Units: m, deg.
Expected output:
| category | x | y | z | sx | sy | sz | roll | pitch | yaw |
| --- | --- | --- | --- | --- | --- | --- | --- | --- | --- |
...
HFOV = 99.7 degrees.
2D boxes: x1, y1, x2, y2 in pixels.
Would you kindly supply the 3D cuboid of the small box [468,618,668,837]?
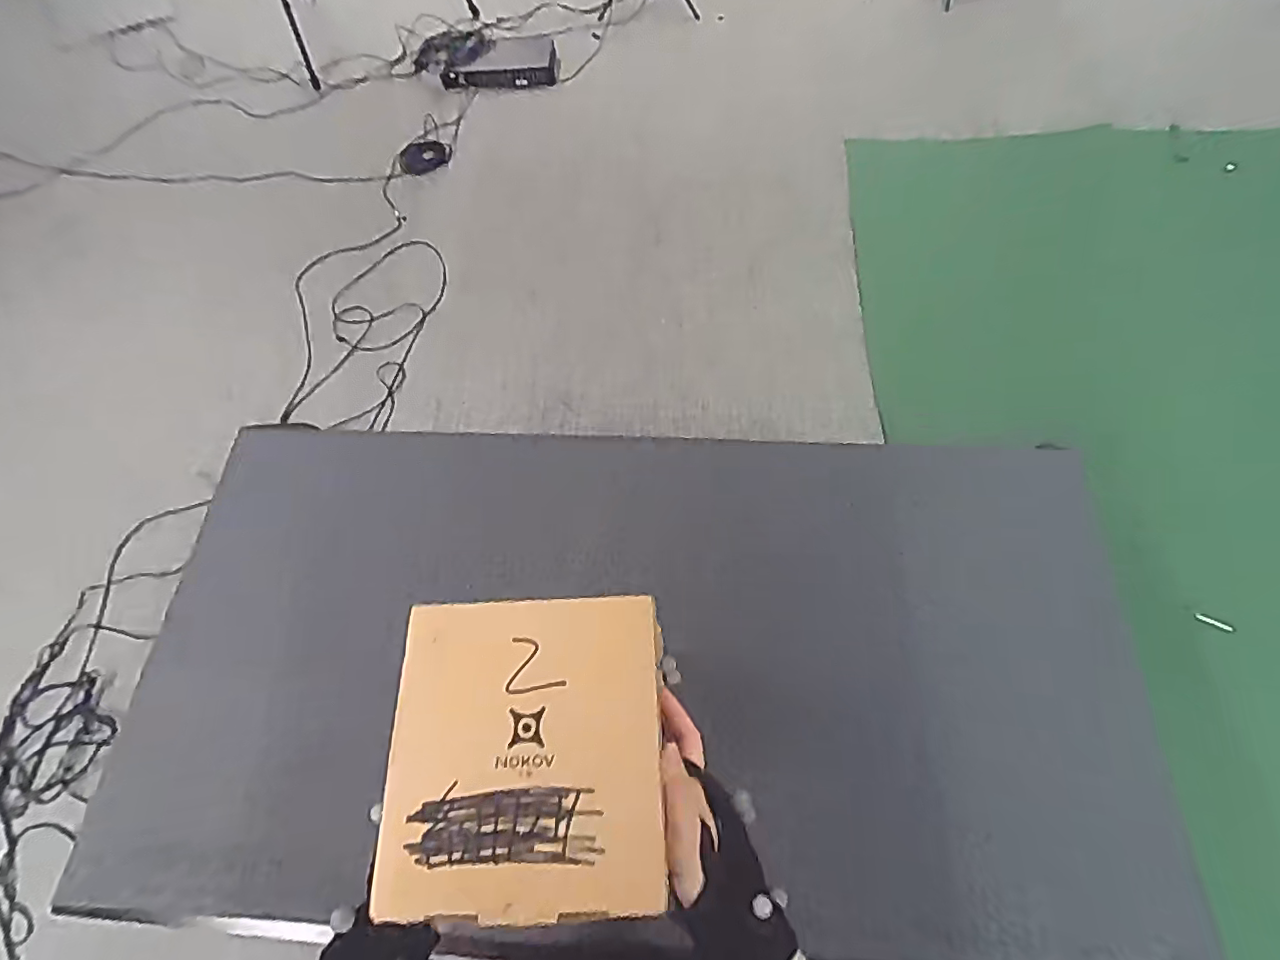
| category | x | y | z | sx | sy | sz | roll | pitch | yaw |
| --- | --- | --- | --- | --- | --- | --- | --- | --- | --- |
| small box | -0.056 | 0.246 | 0.547 | 0.168 | 0.176 | 0.179 | -2 | 64 | 3 |
